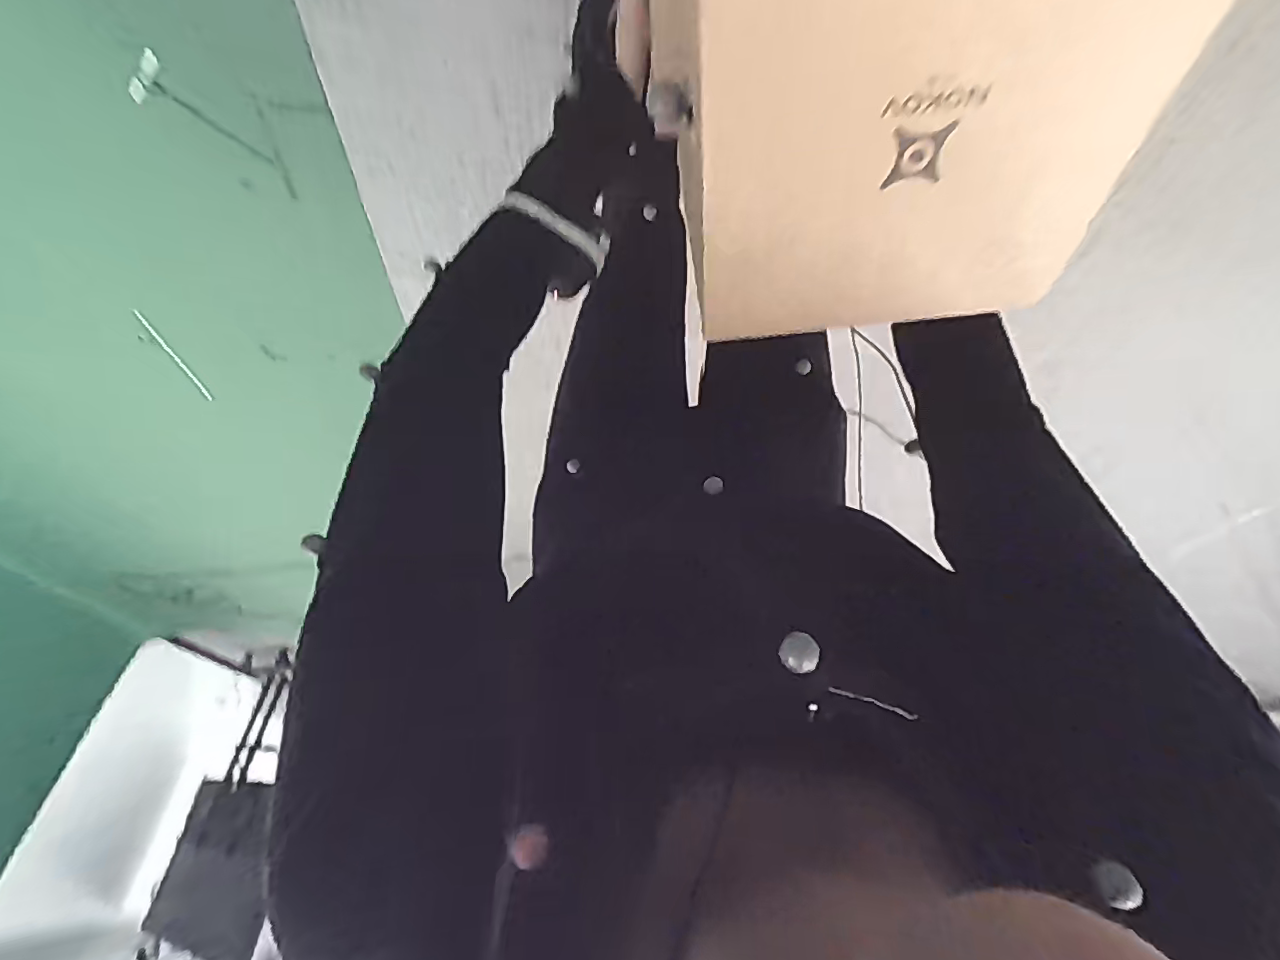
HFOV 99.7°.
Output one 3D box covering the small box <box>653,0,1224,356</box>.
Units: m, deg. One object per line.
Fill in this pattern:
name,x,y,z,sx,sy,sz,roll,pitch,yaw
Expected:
small box,0.092,-0.182,0.241,0.168,0.176,0.179,-4,146,6
